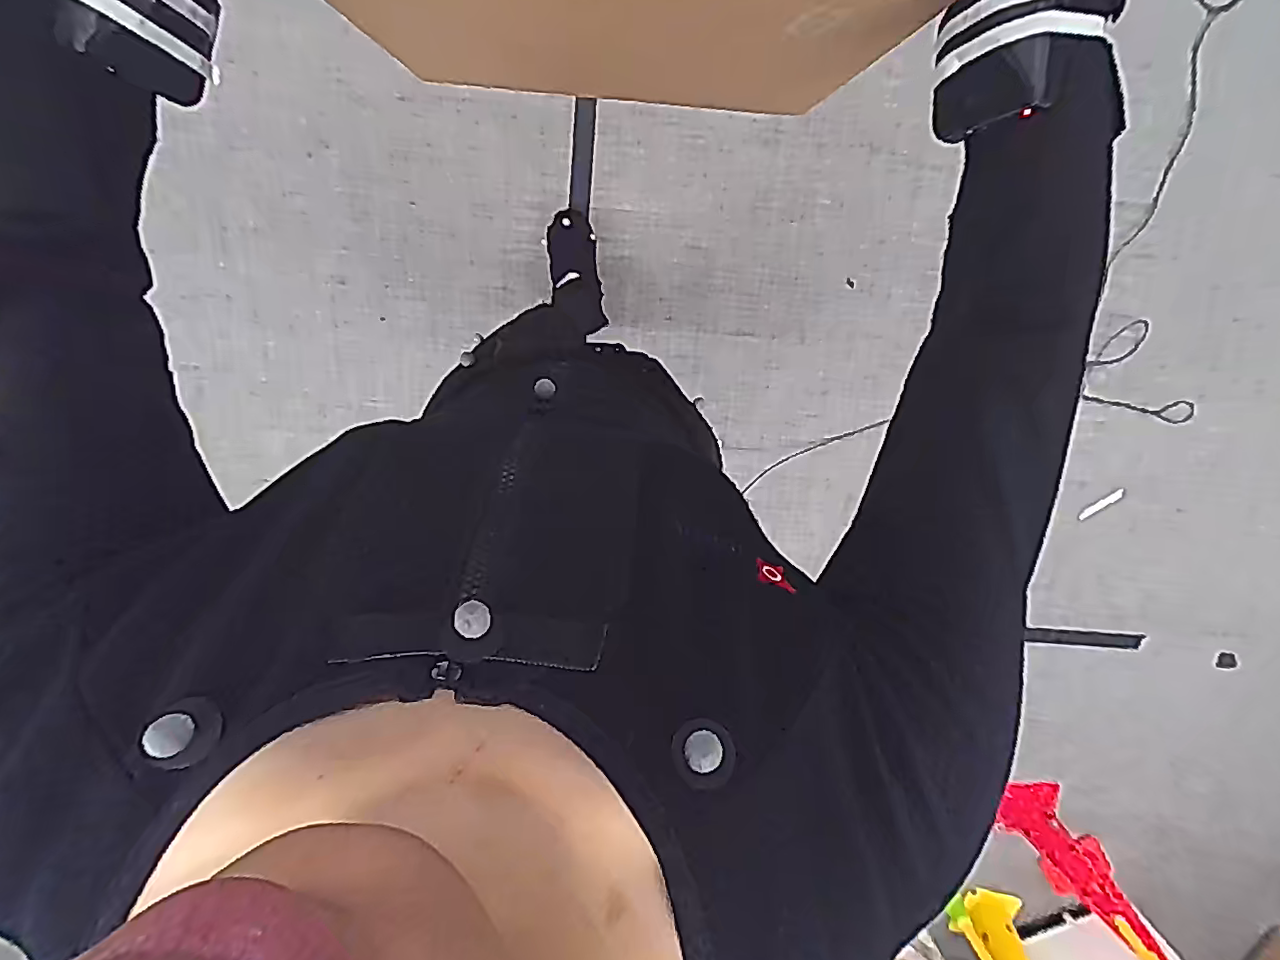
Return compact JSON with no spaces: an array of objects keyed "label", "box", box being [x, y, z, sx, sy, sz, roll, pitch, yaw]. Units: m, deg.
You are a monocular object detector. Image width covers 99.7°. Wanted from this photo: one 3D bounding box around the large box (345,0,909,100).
[{"label":"large box","box":[-0.015,-0.490,0.370,0.408,0.320,0.320,3,113,-3]}]
